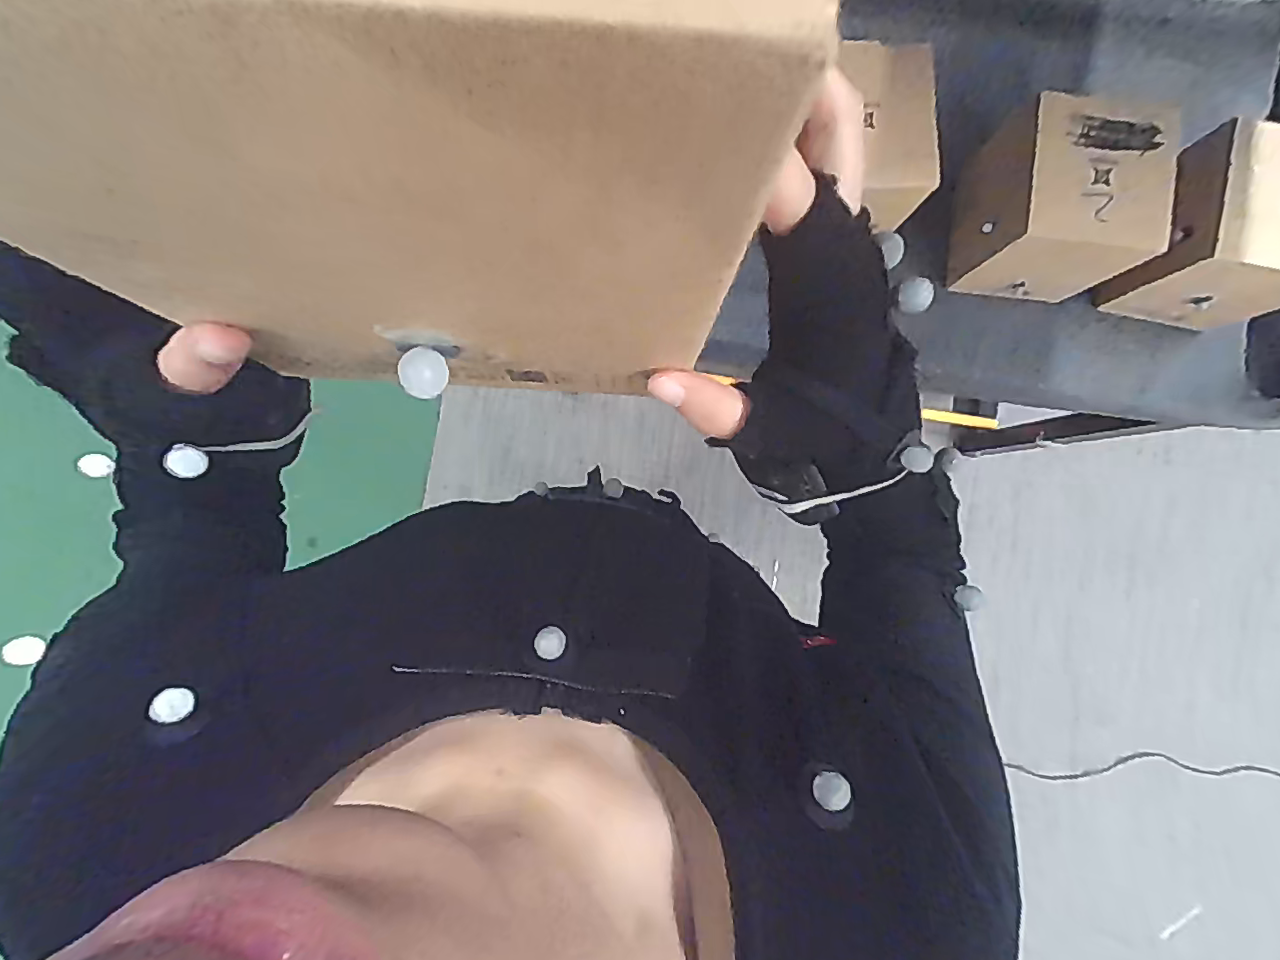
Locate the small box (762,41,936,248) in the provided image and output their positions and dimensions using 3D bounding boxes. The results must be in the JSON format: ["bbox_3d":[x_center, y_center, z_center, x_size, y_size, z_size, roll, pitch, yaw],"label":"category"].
[{"bbox_3d":[0.260,-0.421,0.708,0.168,0.176,0.179,-2,87,0],"label":"small box"}]
